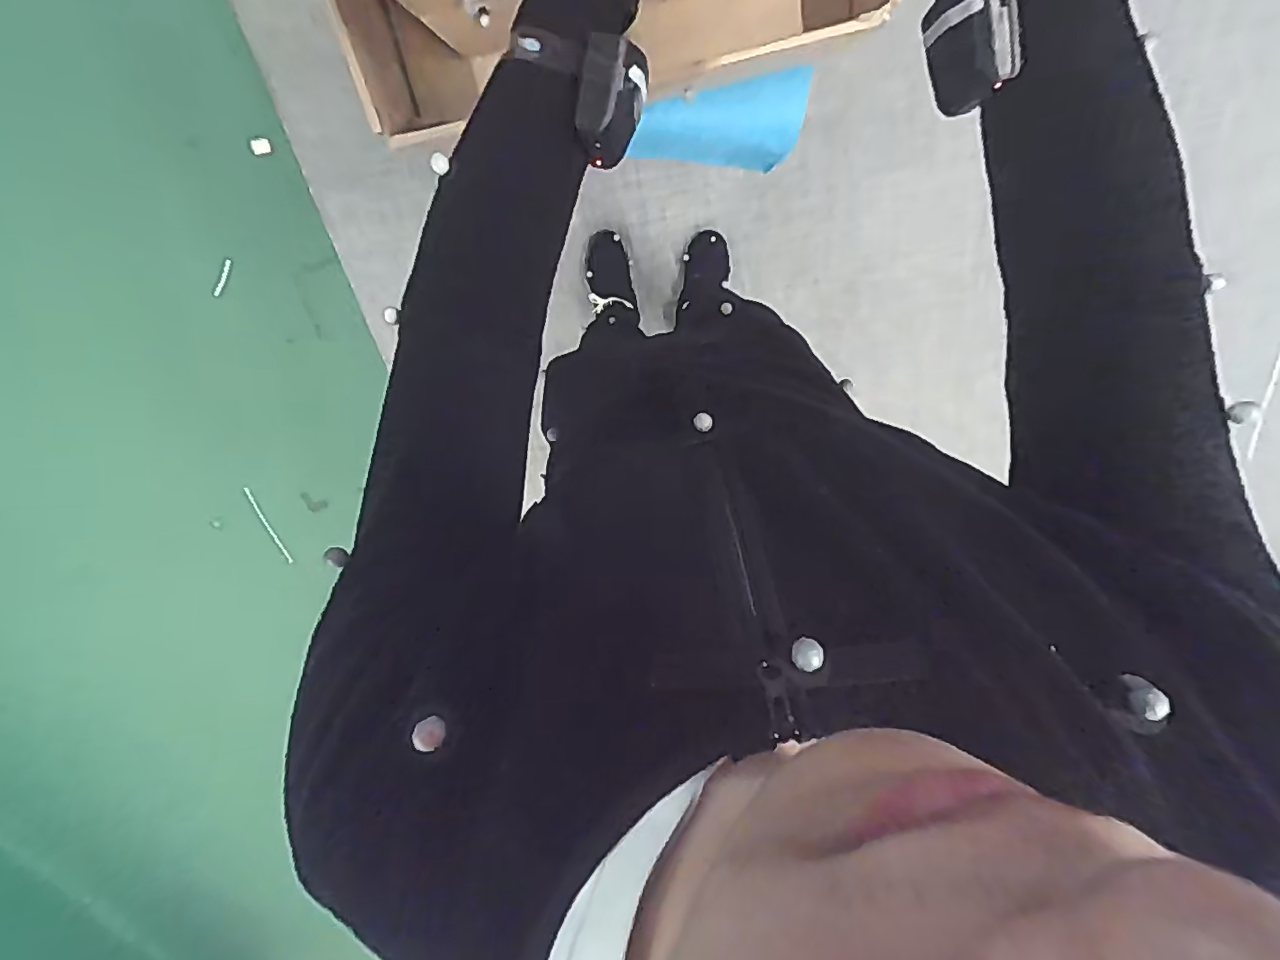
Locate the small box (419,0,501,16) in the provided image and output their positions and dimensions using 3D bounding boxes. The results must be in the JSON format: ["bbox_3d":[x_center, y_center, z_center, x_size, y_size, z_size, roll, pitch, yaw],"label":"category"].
[{"bbox_3d":[-0.167,-0.544,0.458,0.168,0.176,0.179,-9,116,5],"label":"small box"}]
